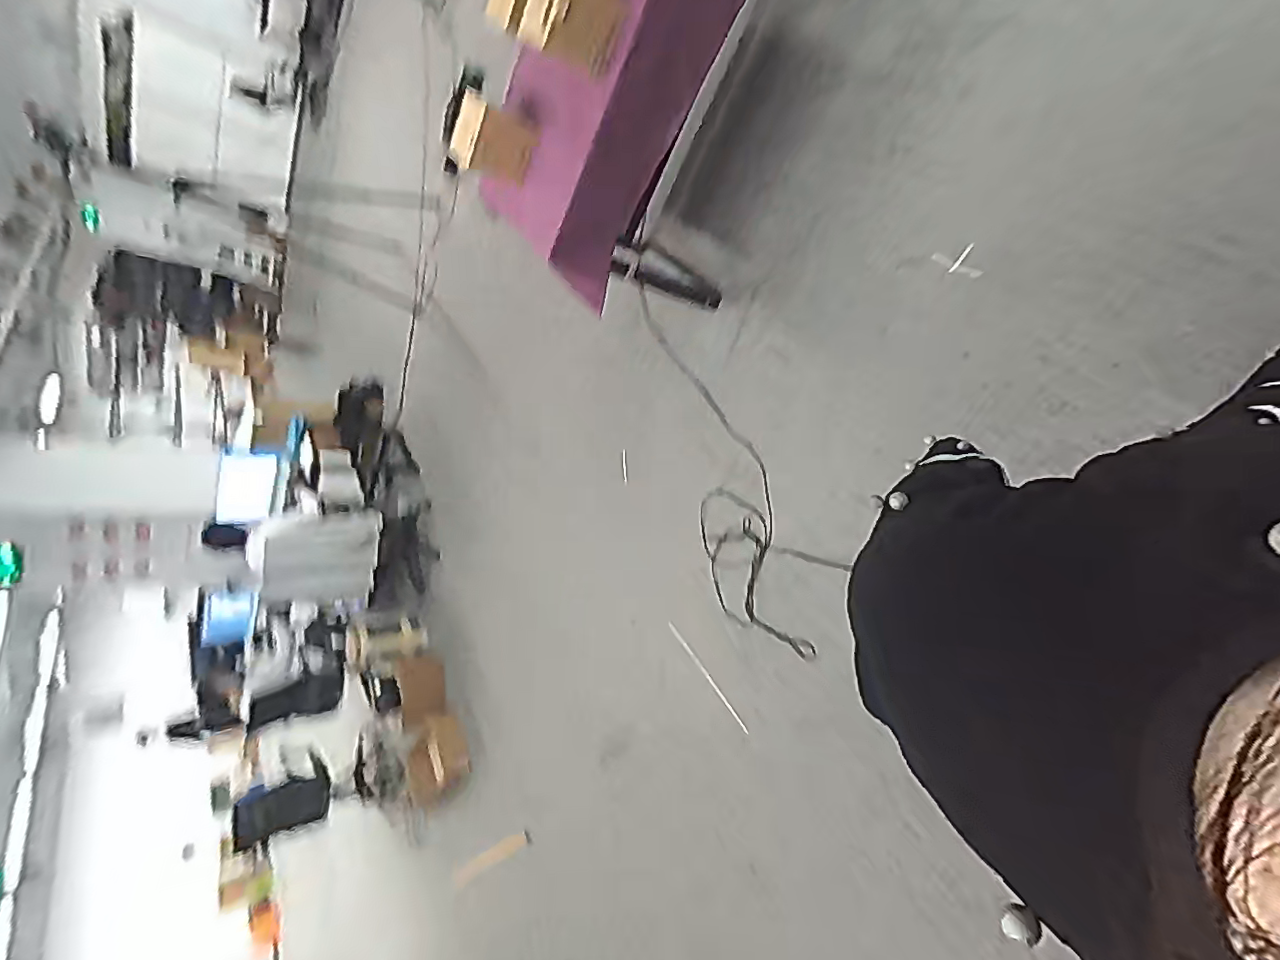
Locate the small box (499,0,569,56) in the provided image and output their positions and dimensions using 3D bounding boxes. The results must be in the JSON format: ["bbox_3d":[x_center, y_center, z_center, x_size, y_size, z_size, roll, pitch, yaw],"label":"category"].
[{"bbox_3d":[-0.254,-1.301,1.465,0.179,0.176,0.168,-56,51,29],"label":"small box"}]

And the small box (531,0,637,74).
[{"bbox_3d":[-0.135,-1.136,1.320,0.168,0.176,0.179,-58,48,28],"label":"small box"}]

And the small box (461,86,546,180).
[{"bbox_3d":[-0.408,-1.034,1.621,0.179,0.176,0.168,54,125,35],"label":"small box"}]
